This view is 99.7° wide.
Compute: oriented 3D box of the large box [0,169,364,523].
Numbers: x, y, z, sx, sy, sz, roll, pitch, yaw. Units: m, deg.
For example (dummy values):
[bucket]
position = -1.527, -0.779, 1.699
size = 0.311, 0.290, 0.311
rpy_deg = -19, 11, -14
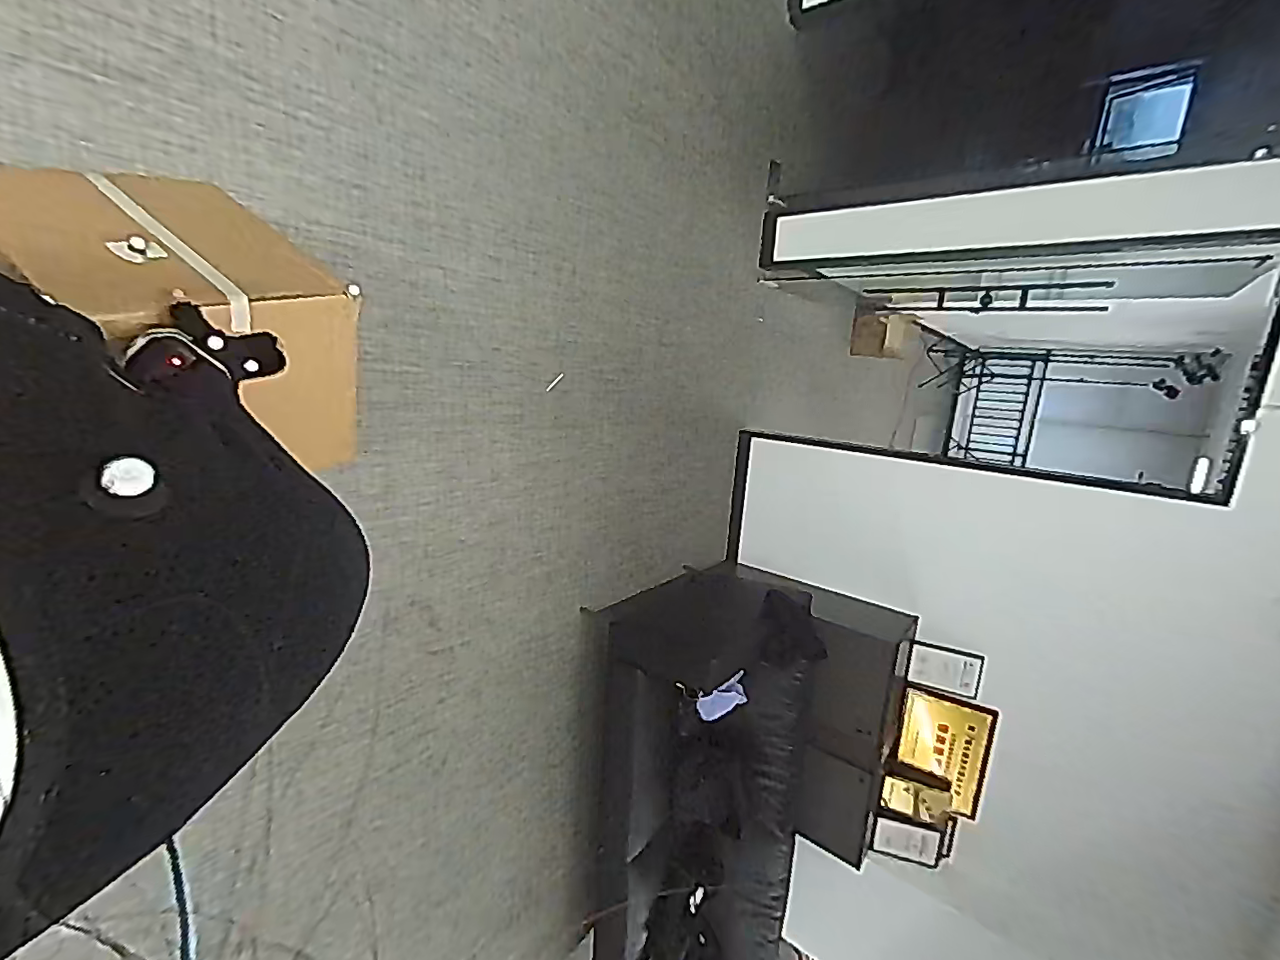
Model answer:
[large box]
position = -0.684, -0.211, 0.809
size = 0.320, 0.408, 0.320
rpy_deg = -32, 153, -49
